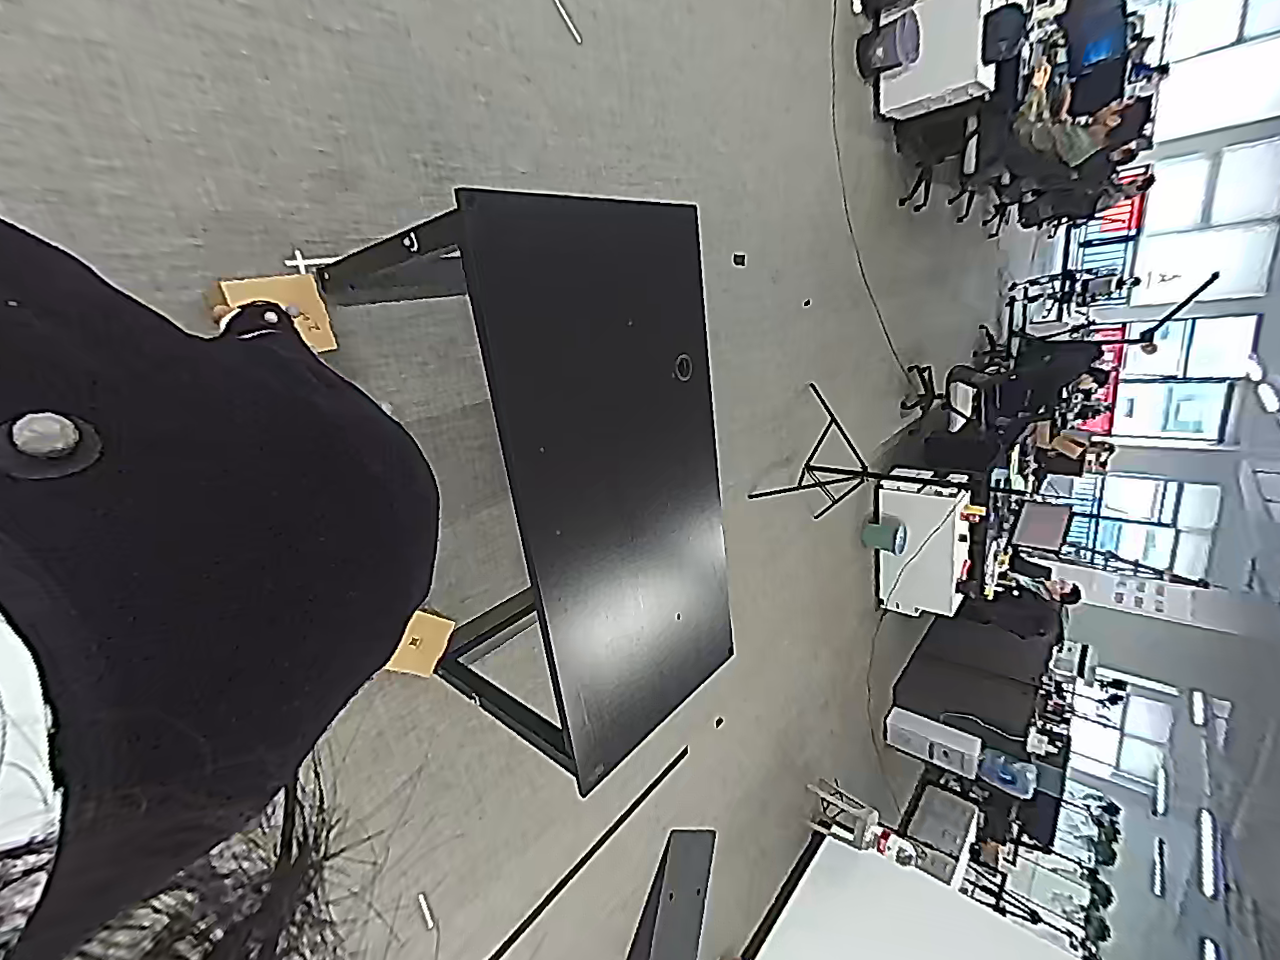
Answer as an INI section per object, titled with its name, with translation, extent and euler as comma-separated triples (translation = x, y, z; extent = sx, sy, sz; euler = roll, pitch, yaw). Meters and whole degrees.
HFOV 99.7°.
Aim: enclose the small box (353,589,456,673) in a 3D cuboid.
[small box]
translation = -0.662, 0.420, 1.518
extent = 0.179, 0.176, 0.168
euler = 36, 70, -44
